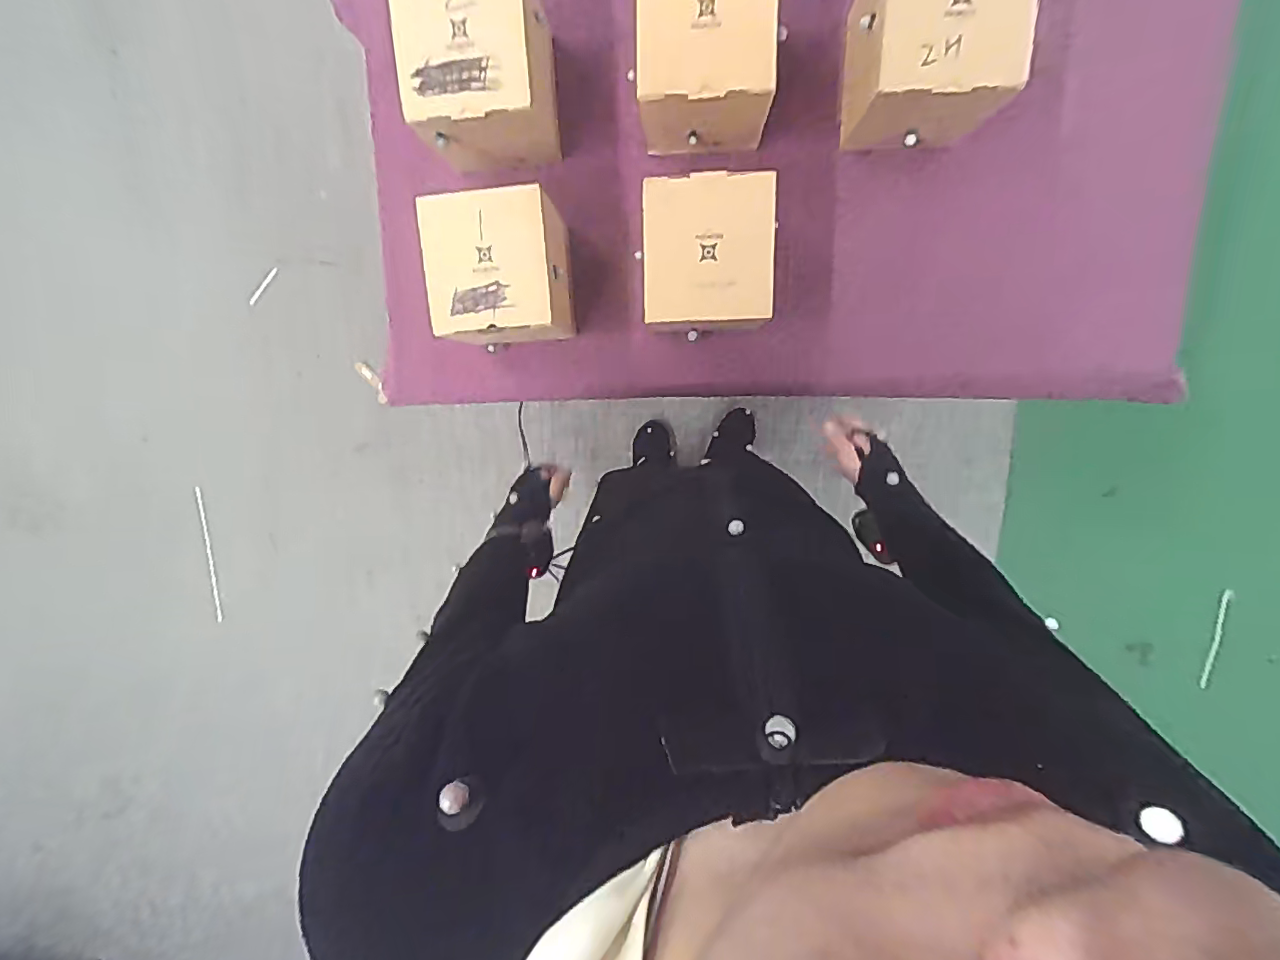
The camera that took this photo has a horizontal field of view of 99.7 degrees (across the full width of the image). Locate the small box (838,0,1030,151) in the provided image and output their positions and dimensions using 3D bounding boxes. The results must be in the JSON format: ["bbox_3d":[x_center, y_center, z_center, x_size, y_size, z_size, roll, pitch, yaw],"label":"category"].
[{"bbox_3d":[0.360,-0.550,0.688,0.168,0.176,0.179,2,101,6],"label":"small box"}]

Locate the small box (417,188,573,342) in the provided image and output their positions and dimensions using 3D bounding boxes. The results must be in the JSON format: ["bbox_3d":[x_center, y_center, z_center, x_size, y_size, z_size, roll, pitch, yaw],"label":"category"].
[{"bbox_3d":[-0.198,-0.297,0.788,0.168,0.176,0.179,-3,98,6],"label":"small box"}]

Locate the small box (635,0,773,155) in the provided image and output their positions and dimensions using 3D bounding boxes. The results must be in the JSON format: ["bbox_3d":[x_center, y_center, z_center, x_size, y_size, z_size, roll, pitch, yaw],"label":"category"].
[{"bbox_3d":[0.080,-0.561,0.716,0.168,0.176,0.179,0,102,6],"label":"small box"}]

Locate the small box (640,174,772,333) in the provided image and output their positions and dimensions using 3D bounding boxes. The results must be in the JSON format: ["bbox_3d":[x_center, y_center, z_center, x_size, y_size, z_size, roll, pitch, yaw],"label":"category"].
[{"bbox_3d":[0.088,-0.306,0.763,0.168,0.176,0.179,0,101,6],"label":"small box"}]
